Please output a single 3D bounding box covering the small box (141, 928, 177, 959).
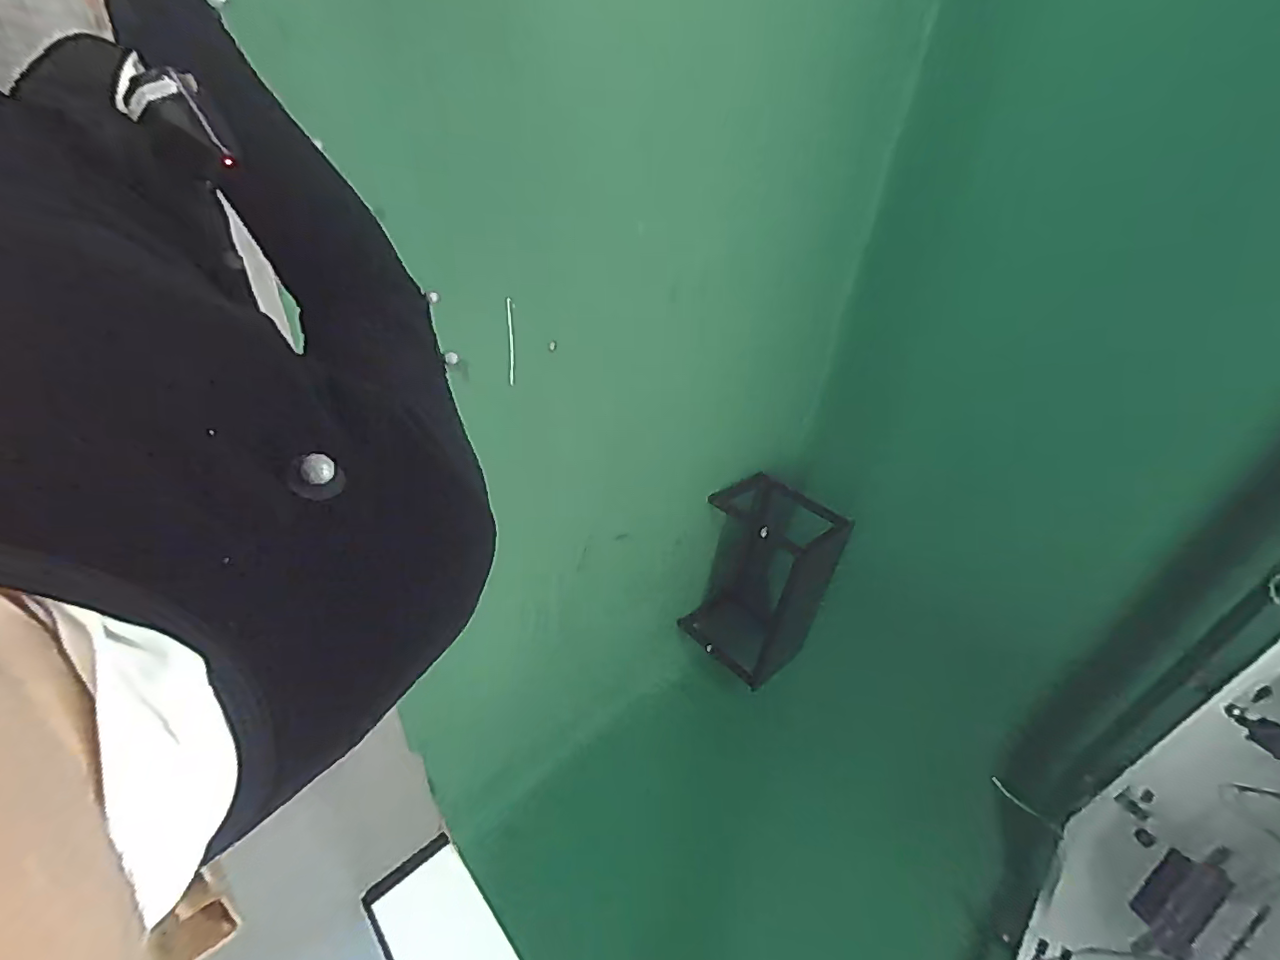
[{"bbox_3d":[-1.202,1.215,1.267,0.168,0.176,0.179,-21,131,-39],"label":"small box"}]

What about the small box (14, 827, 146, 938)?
[{"bbox_3d":[-1.275,0.941,1.233,0.168,0.176,0.179,-21,134,-40],"label":"small box"}]

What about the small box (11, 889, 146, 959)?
[{"bbox_3d":[-1.169,1.013,1.132,0.168,0.176,0.179,-18,132,-41],"label":"small box"}]
